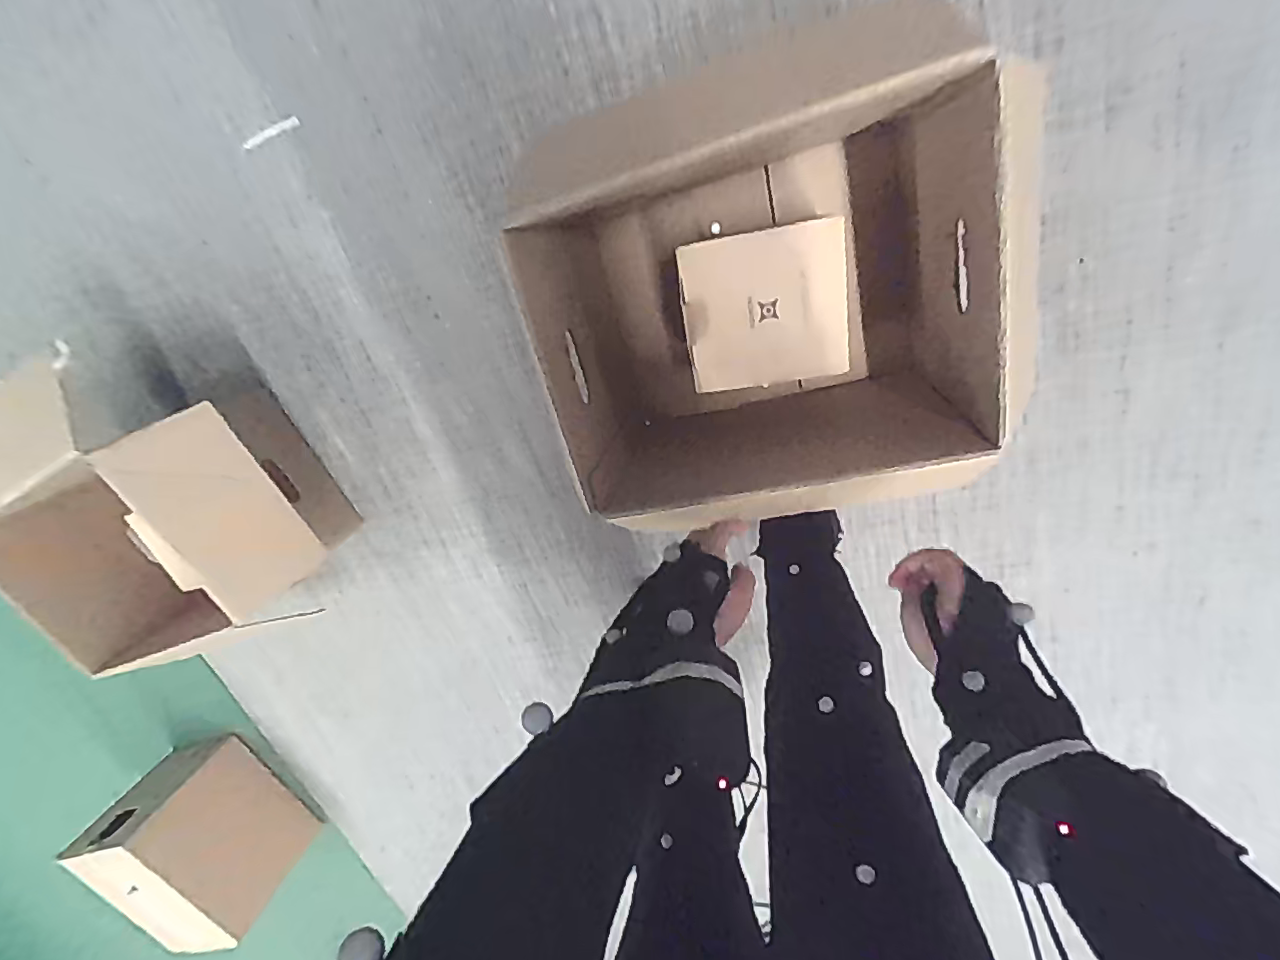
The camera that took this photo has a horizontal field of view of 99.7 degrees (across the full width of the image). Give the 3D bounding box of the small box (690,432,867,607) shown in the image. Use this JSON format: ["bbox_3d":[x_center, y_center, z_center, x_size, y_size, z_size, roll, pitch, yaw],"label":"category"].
[{"bbox_3d":[0.197,0.067,0.779,0.179,0.168,0.176,24,143,-13],"label":"small box"}]
